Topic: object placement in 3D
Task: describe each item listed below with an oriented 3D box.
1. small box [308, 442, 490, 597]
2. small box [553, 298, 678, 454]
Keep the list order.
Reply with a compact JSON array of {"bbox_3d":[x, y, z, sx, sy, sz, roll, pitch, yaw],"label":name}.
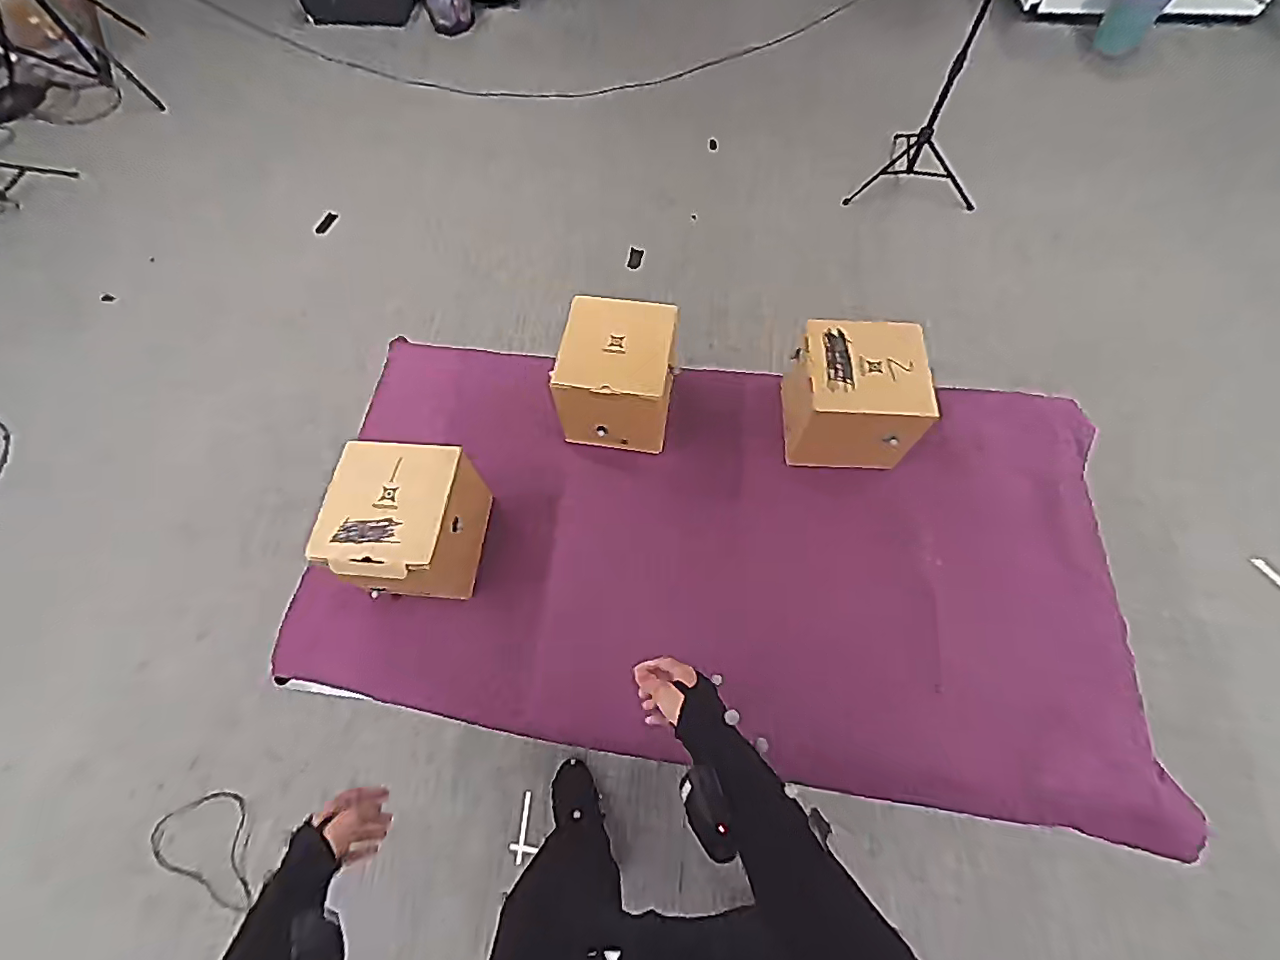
[{"bbox_3d":[-0.331,0.065,0.786,0.168,0.176,0.179,4,64,3],"label":"small box"},{"bbox_3d":[-0.034,-0.165,0.884,0.168,0.176,0.179,8,66,5],"label":"small box"}]
